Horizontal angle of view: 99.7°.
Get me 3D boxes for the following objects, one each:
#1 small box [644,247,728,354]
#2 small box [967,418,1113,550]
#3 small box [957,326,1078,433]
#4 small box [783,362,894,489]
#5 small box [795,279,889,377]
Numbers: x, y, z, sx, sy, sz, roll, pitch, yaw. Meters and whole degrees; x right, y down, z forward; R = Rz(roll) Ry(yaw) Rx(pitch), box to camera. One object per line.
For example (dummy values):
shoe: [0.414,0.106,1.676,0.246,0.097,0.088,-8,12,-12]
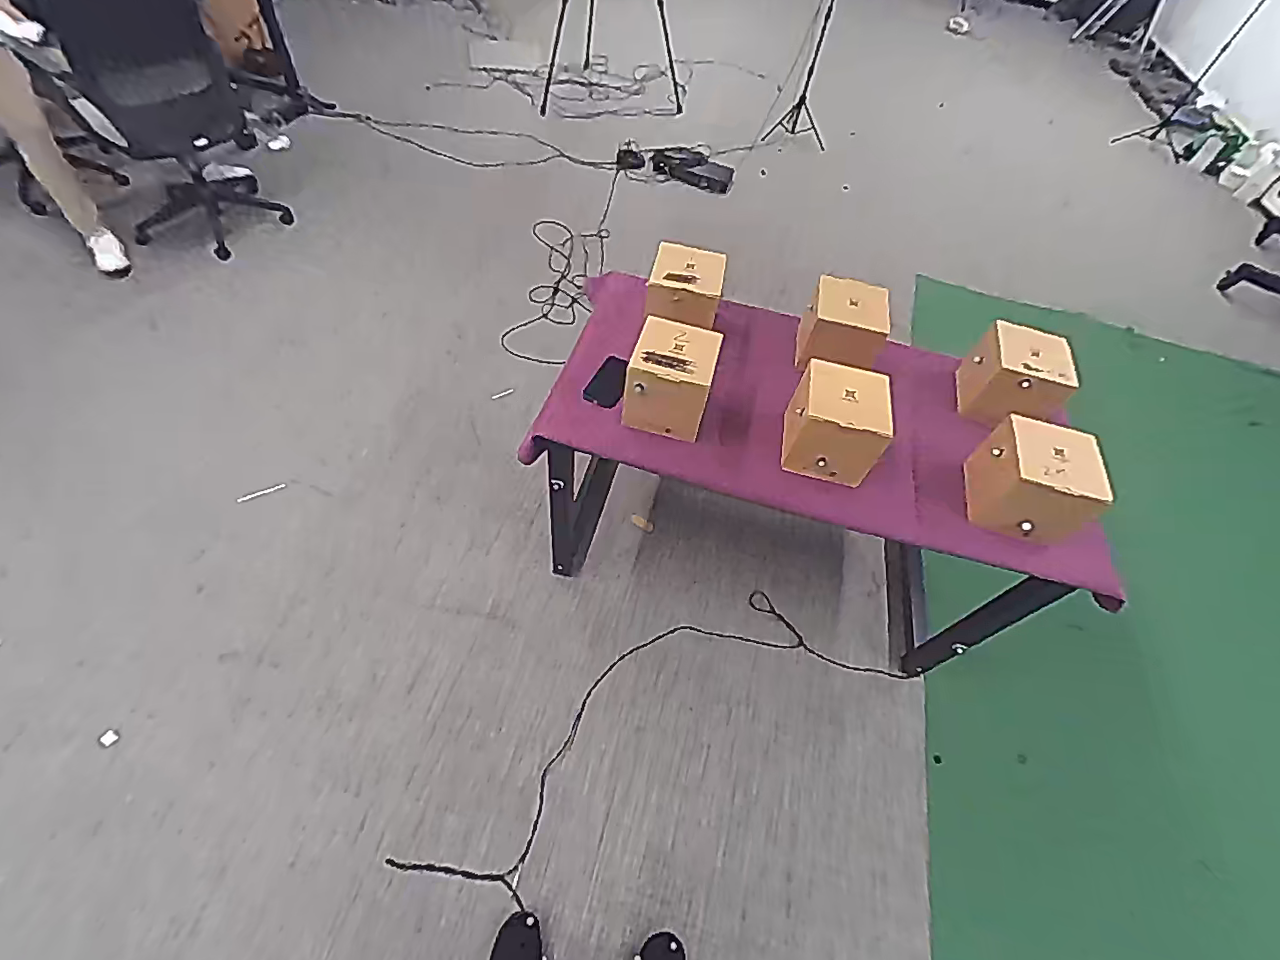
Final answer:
small box: [0.109,-0.437,1.326,0.168,0.176,0.179,13,53,1]
small box: [0.787,0.009,1.089,0.168,0.176,0.179,17,54,6]
small box: [0.878,-0.228,1.279,0.168,0.176,0.179,17,54,6]
small box: [0.407,-0.111,1.132,0.168,0.176,0.179,14,53,2]
small box: [0.489,-0.354,1.320,0.168,0.176,0.179,15,54,4]
